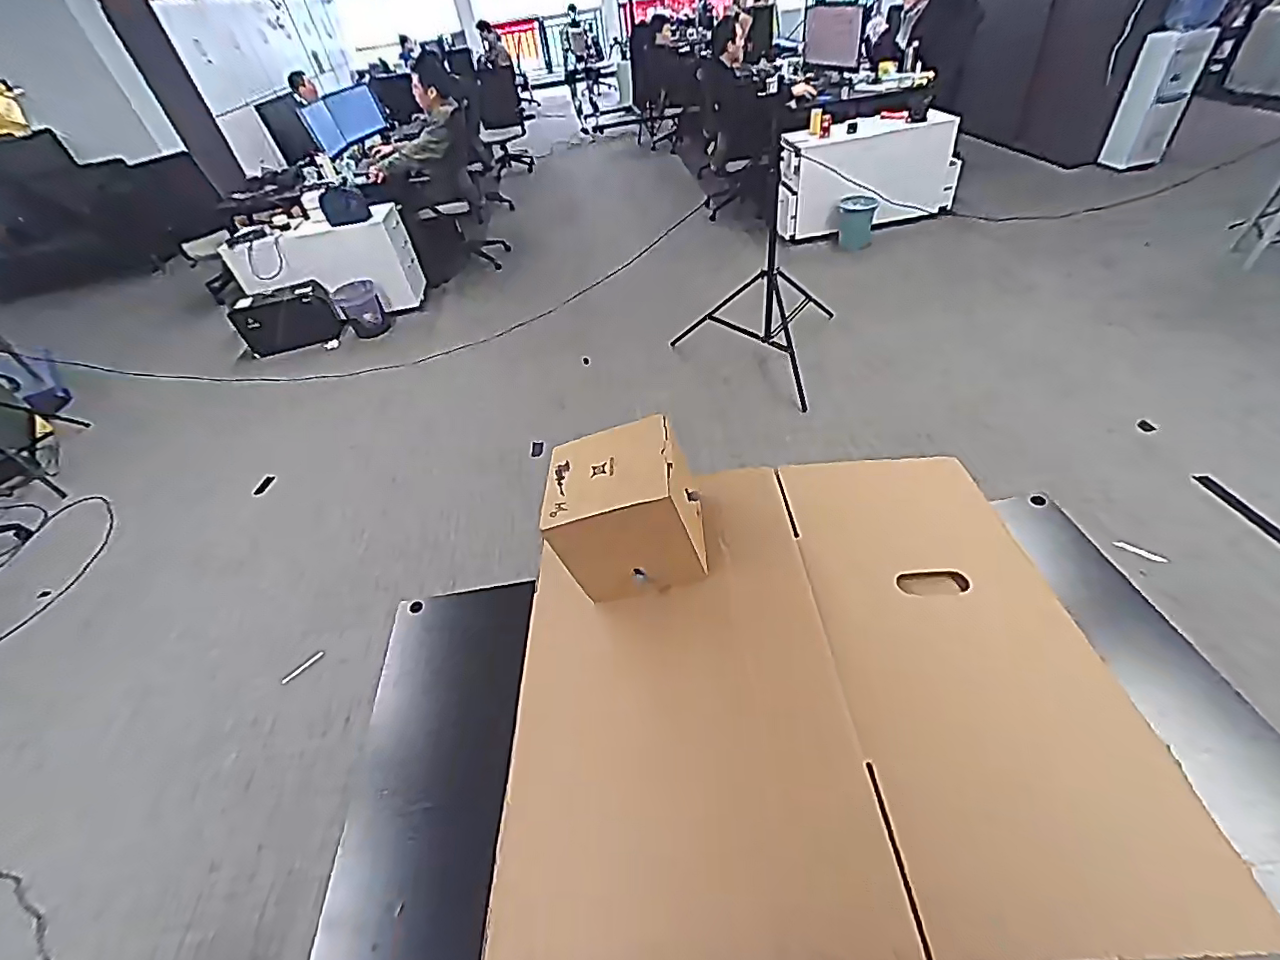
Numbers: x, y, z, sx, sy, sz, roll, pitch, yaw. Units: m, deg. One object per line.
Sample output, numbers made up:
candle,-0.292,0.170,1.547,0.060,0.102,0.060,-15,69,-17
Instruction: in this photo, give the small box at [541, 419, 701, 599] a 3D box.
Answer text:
small box,-0.017,0.046,0.769,0.179,0.176,0.168,-15,41,13
